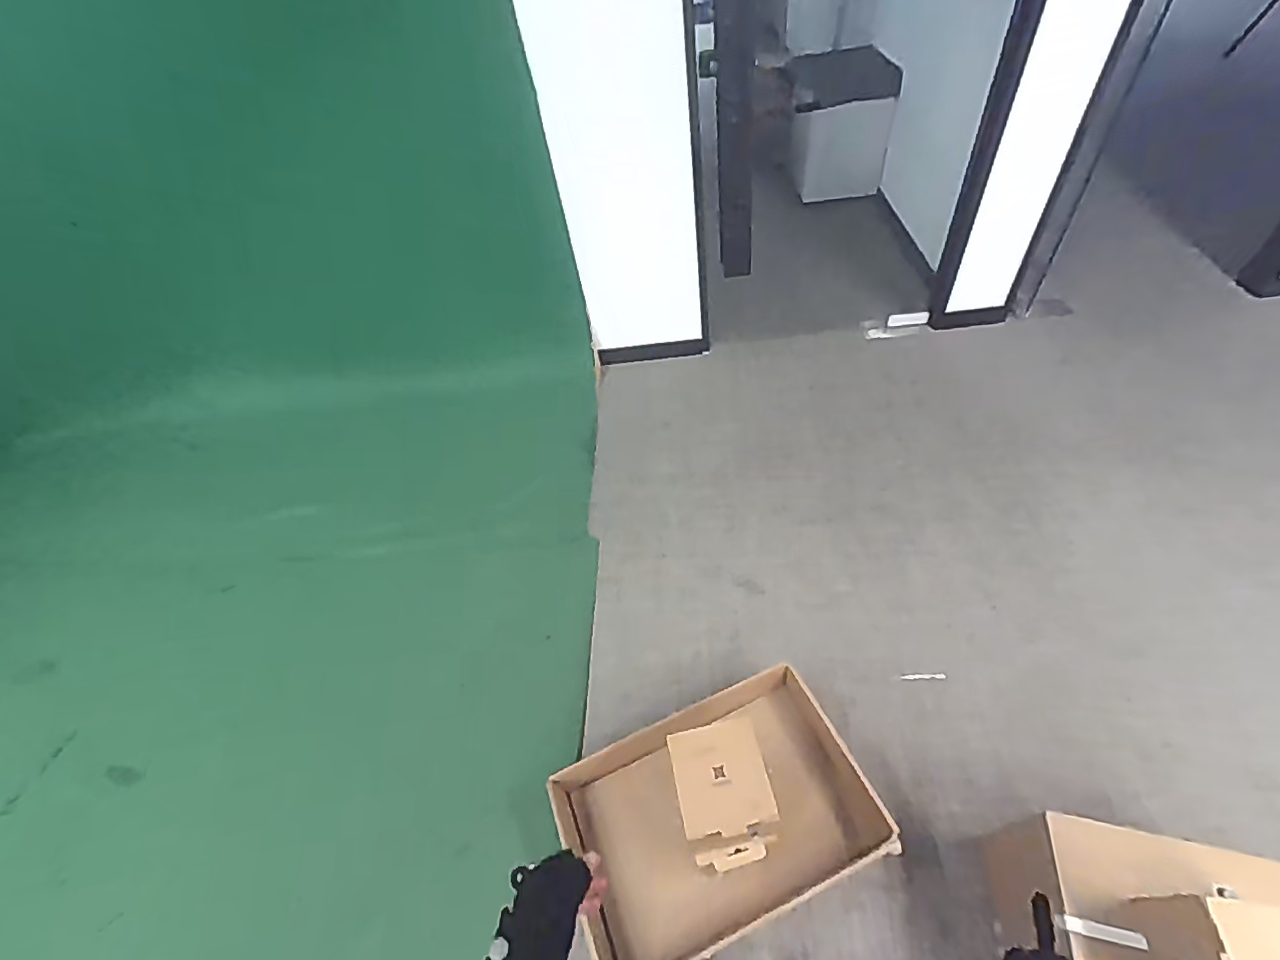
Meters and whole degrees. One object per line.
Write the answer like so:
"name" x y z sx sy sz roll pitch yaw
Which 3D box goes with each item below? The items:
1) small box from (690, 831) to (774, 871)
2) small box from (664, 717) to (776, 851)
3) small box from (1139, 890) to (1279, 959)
"small box" 0.176 0.702 1.144 0.168 0.176 0.179 -17 47 -3
"small box" 0.152 0.586 1.033 0.168 0.176 0.179 -14 46 -1
"small box" 0.817 0.662 0.713 0.179 0.176 0.168 1 51 12
